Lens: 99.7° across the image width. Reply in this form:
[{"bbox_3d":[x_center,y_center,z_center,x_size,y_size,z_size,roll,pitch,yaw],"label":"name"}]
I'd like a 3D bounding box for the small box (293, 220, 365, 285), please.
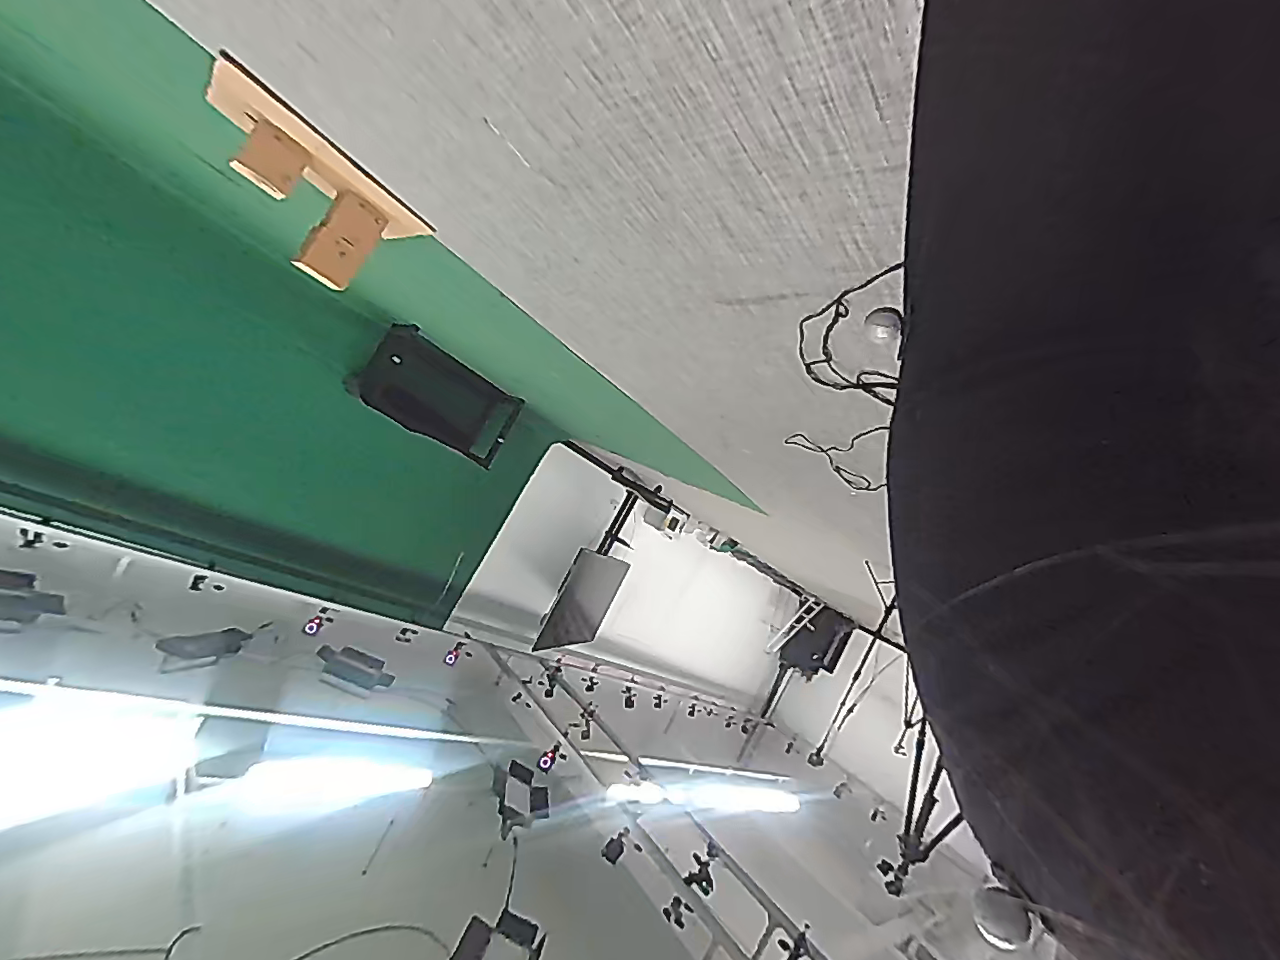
[{"bbox_3d":[-1.201,-0.883,2.093,0.179,0.176,0.168,25,173,43],"label":"small box"}]

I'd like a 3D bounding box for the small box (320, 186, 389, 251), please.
[{"bbox_3d":[-1.110,-1.017,2.103,0.179,0.176,0.168,26,174,45],"label":"small box"}]
